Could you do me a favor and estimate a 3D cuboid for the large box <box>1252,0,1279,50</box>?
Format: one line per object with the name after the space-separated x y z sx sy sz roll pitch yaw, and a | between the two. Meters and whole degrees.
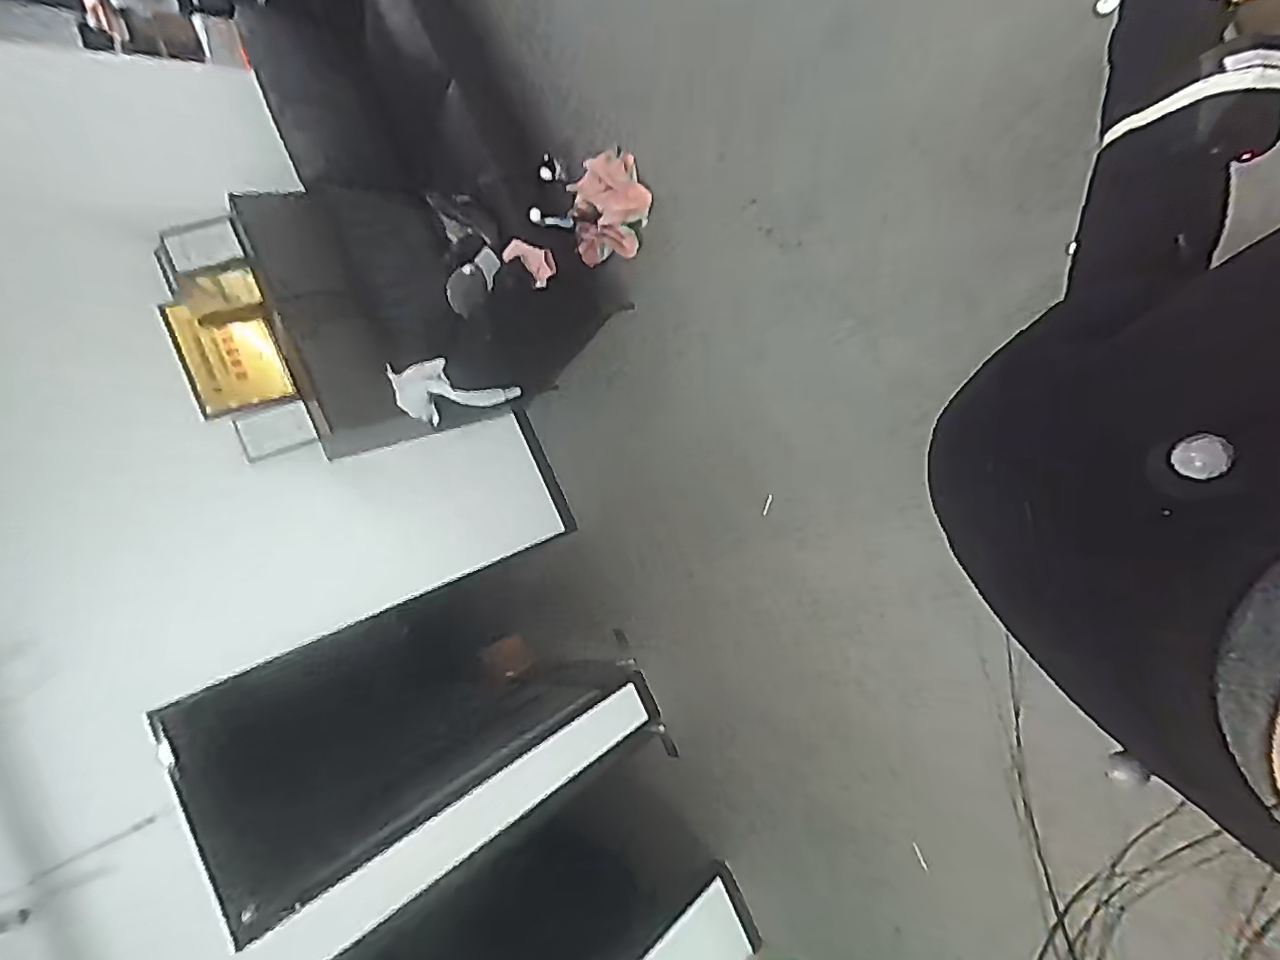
0.616 -0.467 0.240 0.408 0.320 0.320 16 120 47 | large box
